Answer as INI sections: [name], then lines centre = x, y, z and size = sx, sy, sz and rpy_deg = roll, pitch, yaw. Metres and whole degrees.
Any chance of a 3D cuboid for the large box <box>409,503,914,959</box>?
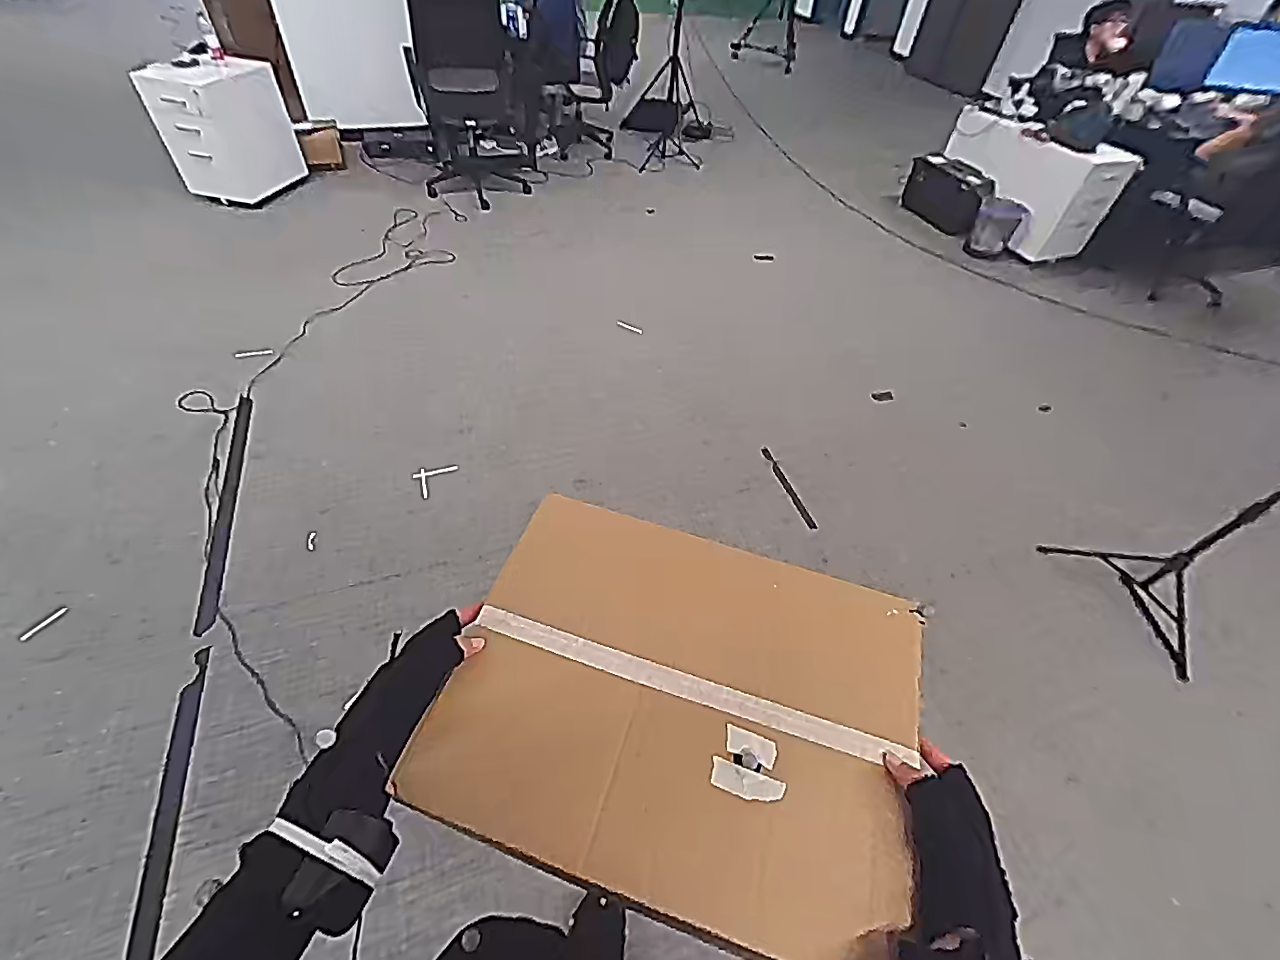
[large box]
centre = 0.036, 0.281, 0.611
size = 0.408, 0.320, 0.320
rpy_deg = 17, 53, 10
